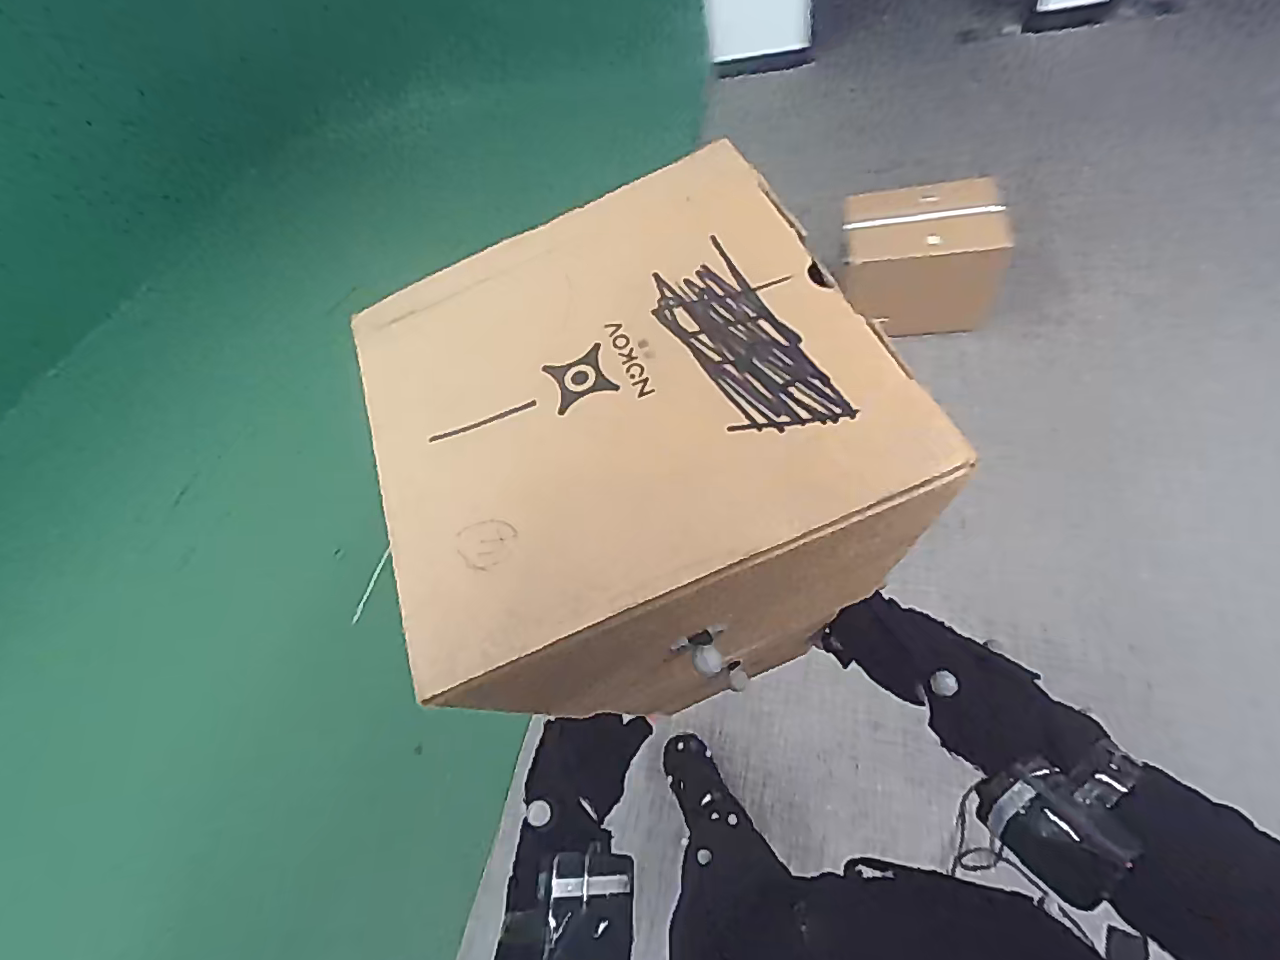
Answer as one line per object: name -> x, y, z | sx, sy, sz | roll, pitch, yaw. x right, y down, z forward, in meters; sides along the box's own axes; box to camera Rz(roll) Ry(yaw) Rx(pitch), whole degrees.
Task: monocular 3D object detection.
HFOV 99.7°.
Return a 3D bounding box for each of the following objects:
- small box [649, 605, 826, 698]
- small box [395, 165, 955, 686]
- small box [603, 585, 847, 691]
small box -> 0.072, 0.118, 0.576 | 0.179, 0.176, 0.168 | -24, 63, -1
small box -> 0.010, -0.008, 0.277 | 0.179, 0.176, 0.168 | -23, 63, 2
small box -> 0.037, 0.053, 0.428 | 0.168, 0.176, 0.179 | -23, 63, 1
